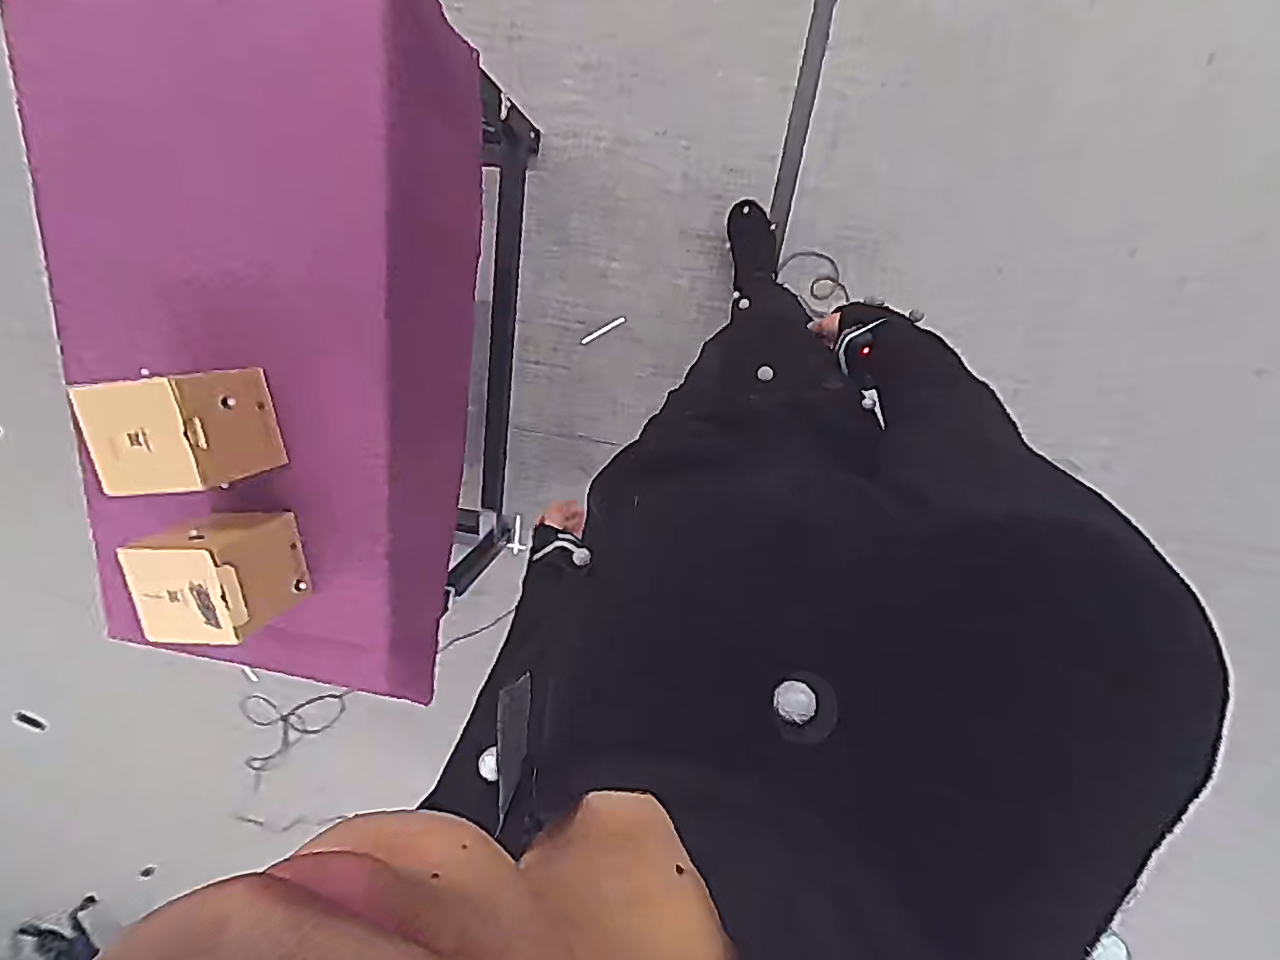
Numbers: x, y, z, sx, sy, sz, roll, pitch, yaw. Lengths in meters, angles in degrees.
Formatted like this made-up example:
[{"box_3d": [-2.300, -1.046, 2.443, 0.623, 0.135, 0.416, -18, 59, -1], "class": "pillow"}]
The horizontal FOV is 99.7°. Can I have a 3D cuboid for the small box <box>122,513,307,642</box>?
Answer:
[{"box_3d": [-0.710, 0.160, 0.931, 0.179, 0.176, 0.168, -1, 105, 9], "class": "small box"}]

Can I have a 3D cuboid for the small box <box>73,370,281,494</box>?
[{"box_3d": [-0.715, -0.082, 0.863, 0.179, 0.176, 0.168, -3, 105, 9], "class": "small box"}]
